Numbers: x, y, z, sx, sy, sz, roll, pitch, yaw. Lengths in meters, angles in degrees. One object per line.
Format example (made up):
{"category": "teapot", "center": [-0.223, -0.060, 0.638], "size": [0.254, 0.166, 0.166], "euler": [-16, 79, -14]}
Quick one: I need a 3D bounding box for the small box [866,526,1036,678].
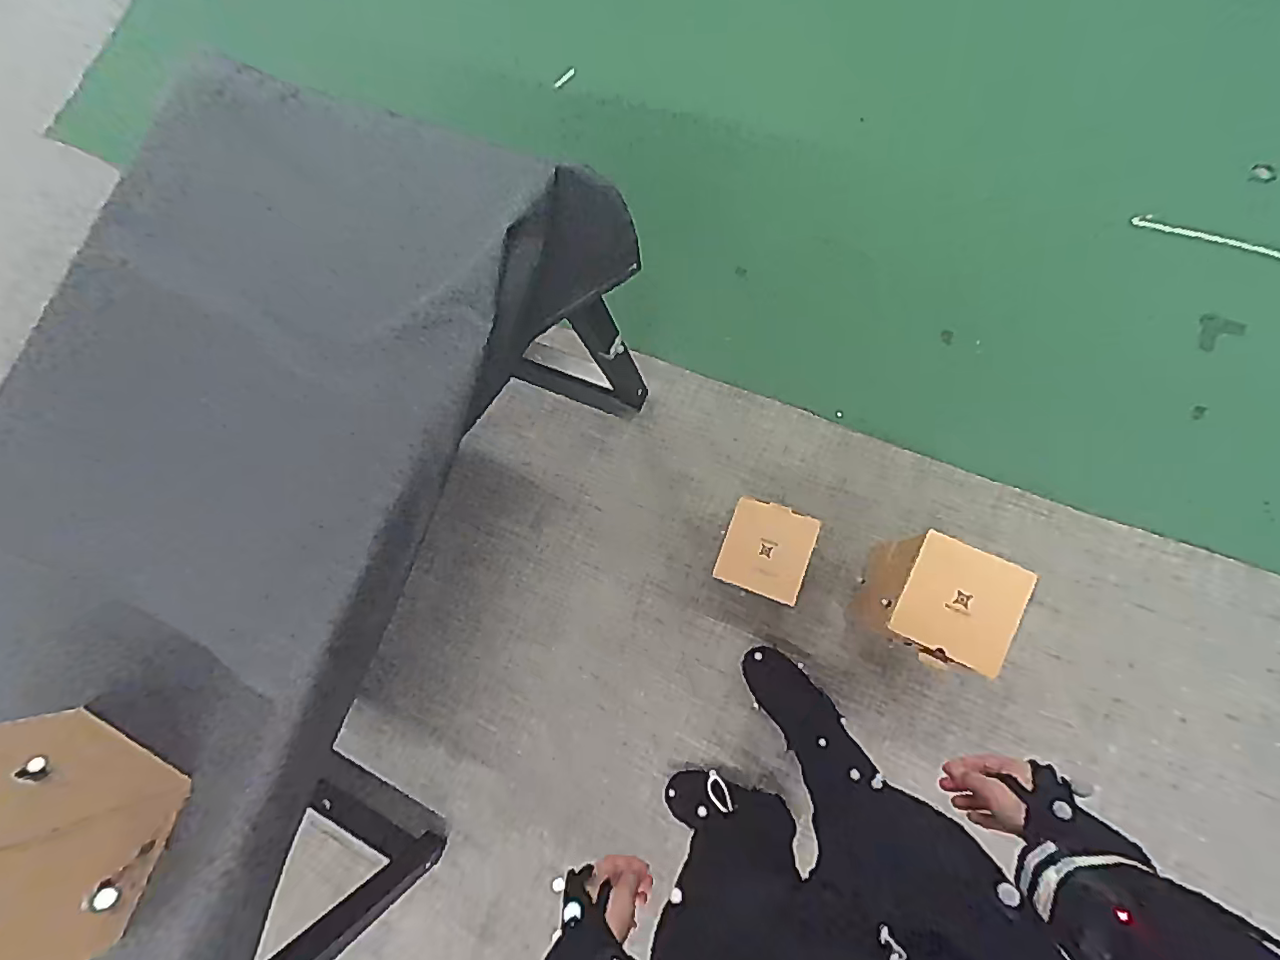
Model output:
{"category": "small box", "center": [0.497, 0.195, 0.894], "size": [0.168, 0.176, 0.179], "euler": [25, 85, 13]}

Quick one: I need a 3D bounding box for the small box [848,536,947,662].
{"category": "small box", "center": [0.523, 0.225, 1.053], "size": [0.168, 0.176, 0.179], "euler": [24, 86, 13]}

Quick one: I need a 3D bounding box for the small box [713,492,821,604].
{"category": "small box", "center": [0.257, 0.143, 1.118], "size": [0.168, 0.176, 0.179], "euler": [18, 84, 14]}

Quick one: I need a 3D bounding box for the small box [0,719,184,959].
{"category": "small box", "center": [-0.577, 0.335, 0.480], "size": [0.179, 0.176, 0.168], "euler": [20, 84, 13]}
